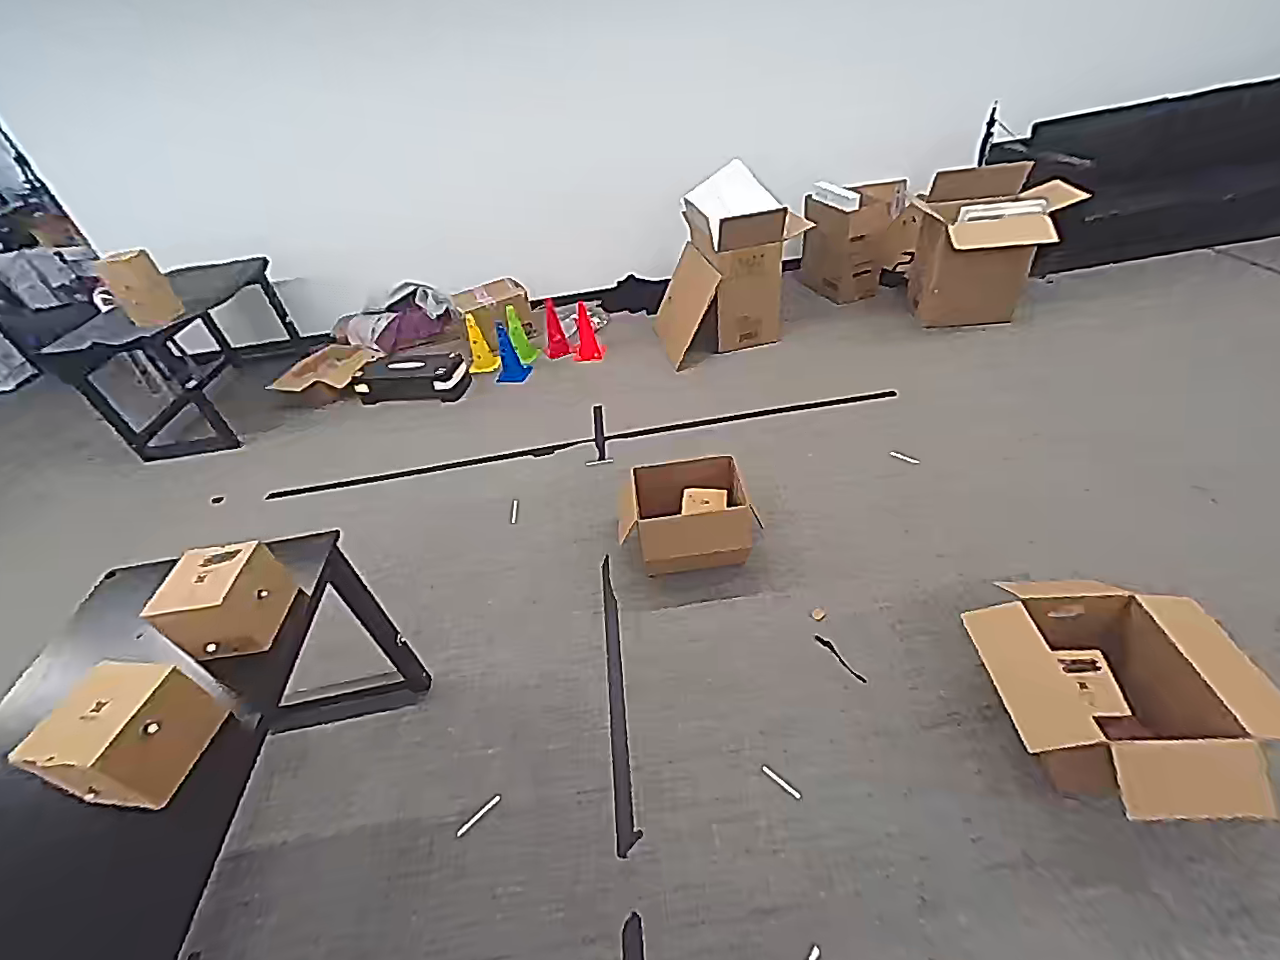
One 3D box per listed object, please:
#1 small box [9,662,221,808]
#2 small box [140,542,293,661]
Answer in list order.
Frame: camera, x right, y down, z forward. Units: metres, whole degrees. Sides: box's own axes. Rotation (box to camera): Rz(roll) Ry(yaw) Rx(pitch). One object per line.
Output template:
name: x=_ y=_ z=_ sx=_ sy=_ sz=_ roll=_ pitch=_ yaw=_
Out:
small box: x=-0.894 y=0.446 z=0.950 sx=0.168 sy=0.176 sz=0.179 roll=-2 pitch=41 yaw=10
small box: x=-0.889 y=0.261 z=1.161 sx=0.168 sy=0.176 sz=0.179 roll=-9 pitch=41 yaw=1
